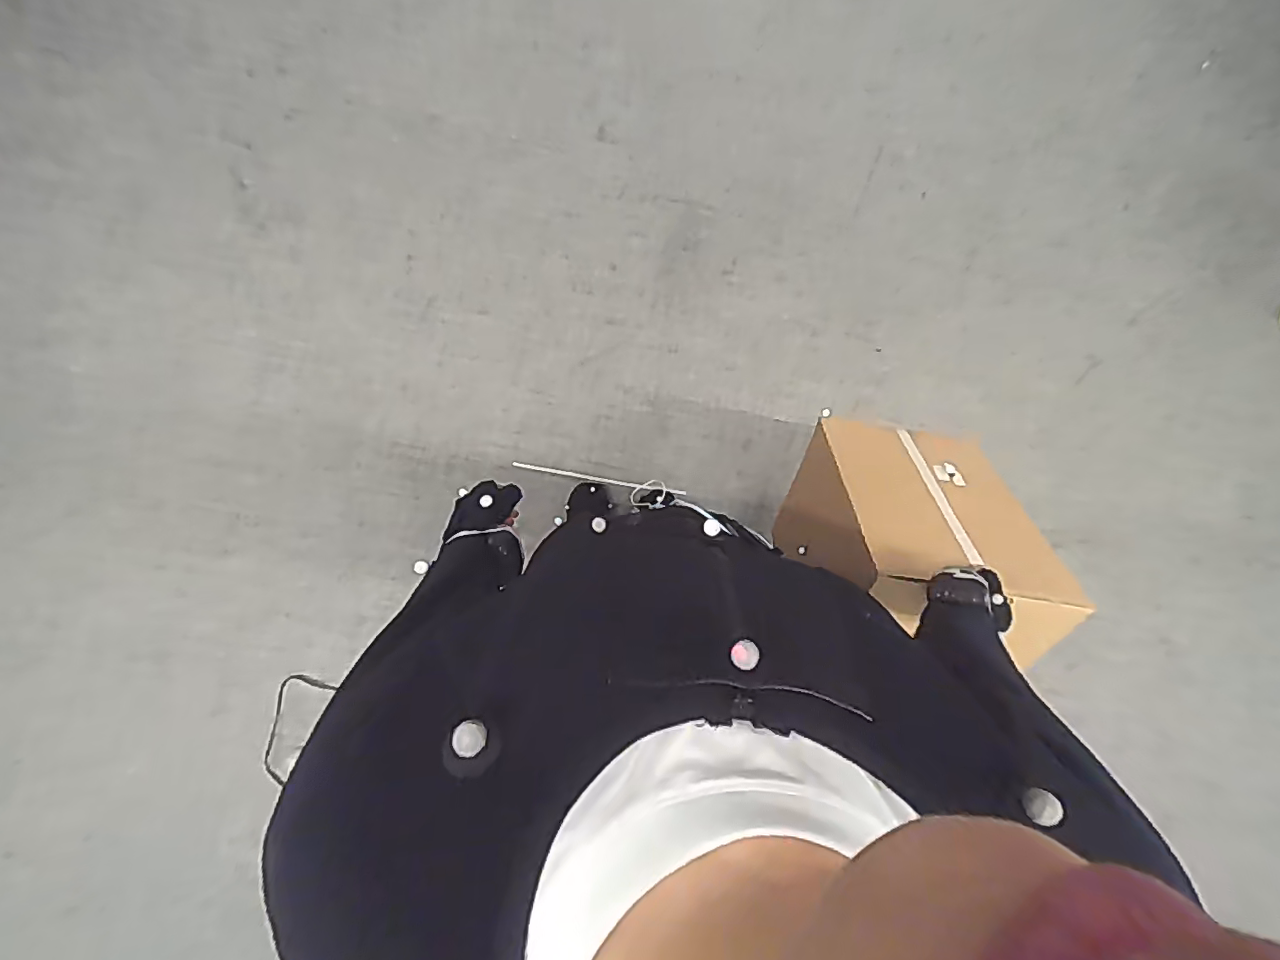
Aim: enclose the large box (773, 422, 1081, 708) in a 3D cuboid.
[{"bbox_3d":[0.461,0.146,0.995,0.320,0.408,0.320,10,128,-3],"label":"large box"}]
